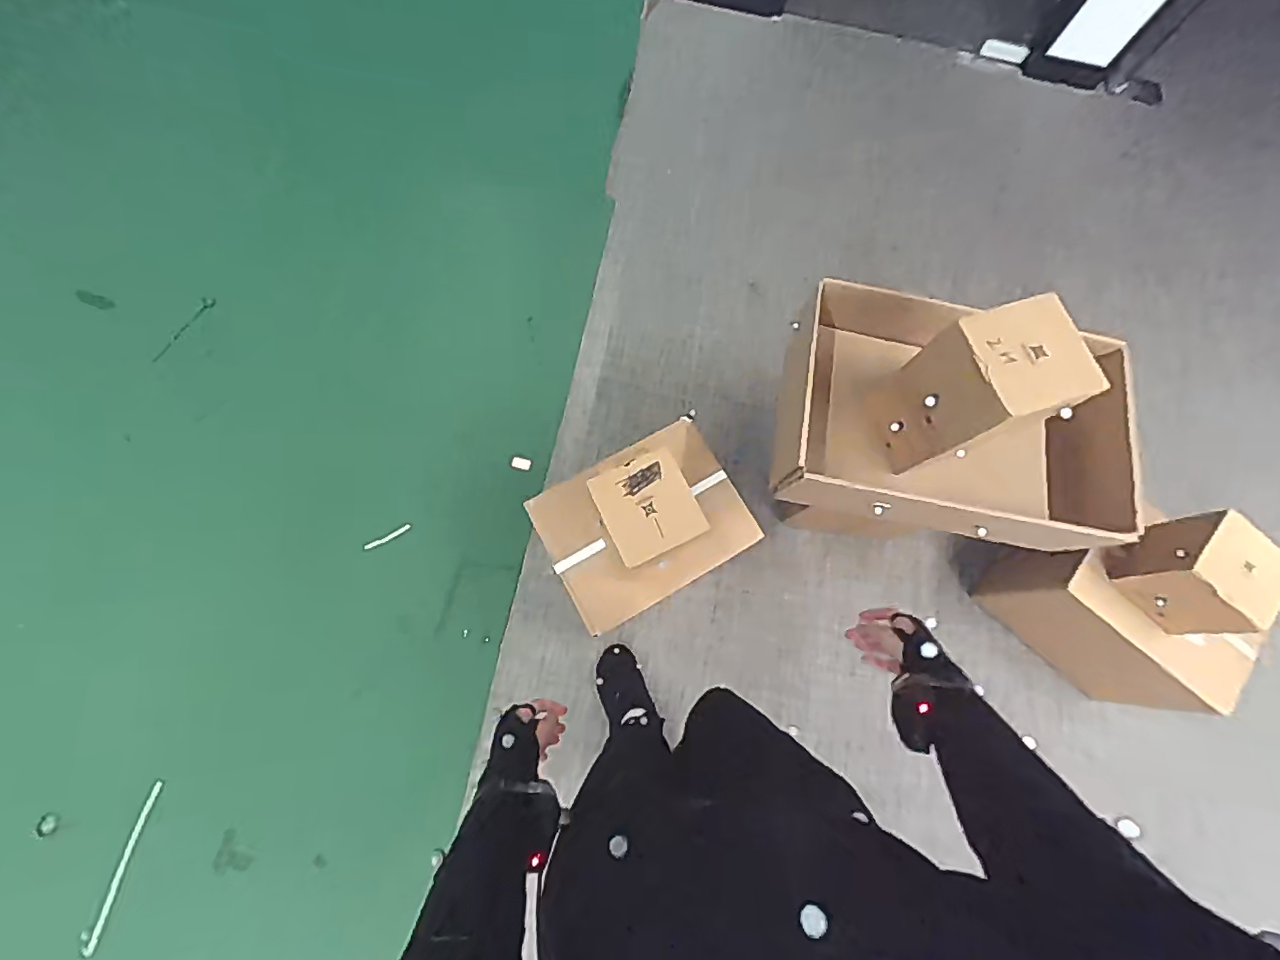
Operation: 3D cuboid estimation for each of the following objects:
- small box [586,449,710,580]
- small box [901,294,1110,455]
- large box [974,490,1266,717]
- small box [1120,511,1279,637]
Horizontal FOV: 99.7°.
[{"bbox_3d":[0.006,0.071,1.015,0.168,0.176,0.179,-25,78,-11],"label":"small box"},{"bbox_3d":[0.555,-0.158,0.847,0.179,0.176,0.168,-17,76,-9],"label":"small box"},{"bbox_3d":[1.134,0.292,1.306,0.408,0.320,0.320,41,75,6],"label":"large box"},{"bbox_3d":[1.129,0.191,1.080,0.179,0.176,0.168,-43,82,-16],"label":"small box"}]
